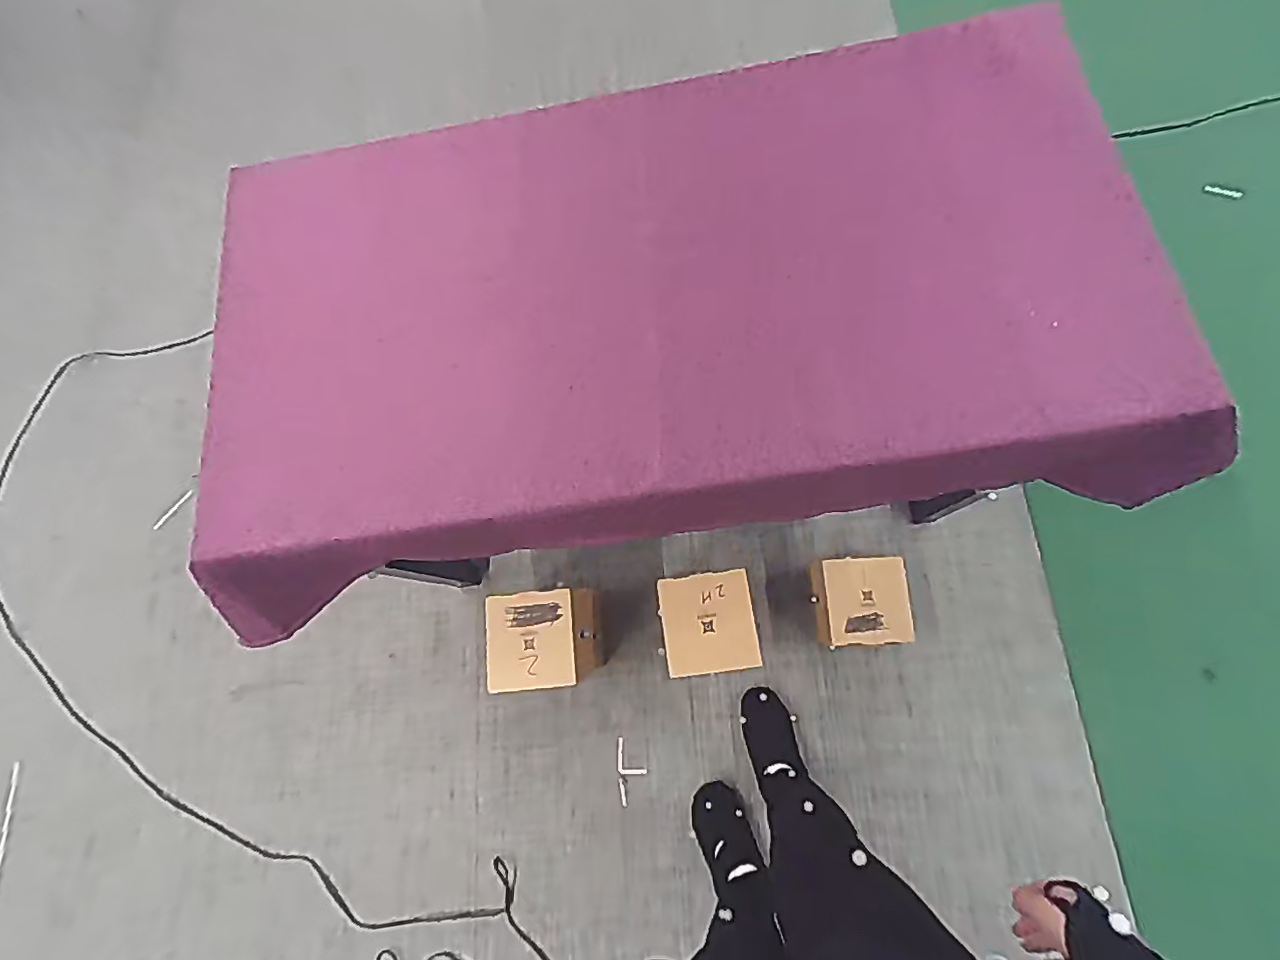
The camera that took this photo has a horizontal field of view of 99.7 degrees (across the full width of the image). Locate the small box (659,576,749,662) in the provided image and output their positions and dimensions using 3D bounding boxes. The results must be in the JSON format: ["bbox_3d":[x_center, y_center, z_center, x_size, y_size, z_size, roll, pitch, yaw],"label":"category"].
[{"bbox_3d":[0.143,0.313,1.213,0.179,0.176,0.168,-7,75,5],"label":"small box"}]
